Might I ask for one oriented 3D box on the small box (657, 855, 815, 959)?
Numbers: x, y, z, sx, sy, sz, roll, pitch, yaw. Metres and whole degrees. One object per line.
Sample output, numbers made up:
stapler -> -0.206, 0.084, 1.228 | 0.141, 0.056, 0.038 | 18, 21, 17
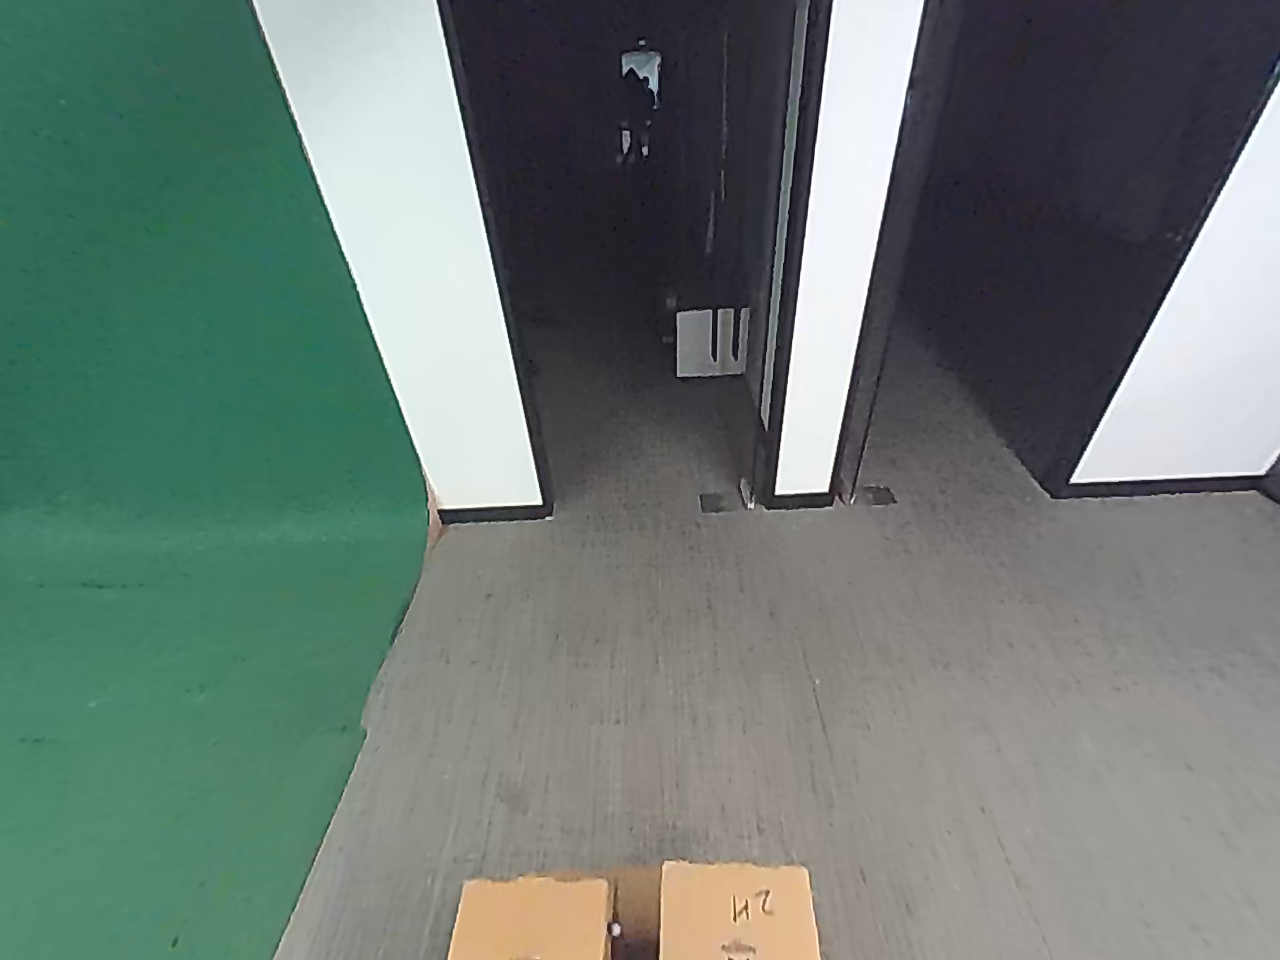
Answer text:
small box -> 0.106, 0.557, 0.608 | 0.168, 0.176, 0.179 | 0, 38, 6

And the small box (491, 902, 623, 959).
small box -> -0.110, 0.697, 0.722 | 0.168, 0.176, 0.179 | -1, 40, 2
